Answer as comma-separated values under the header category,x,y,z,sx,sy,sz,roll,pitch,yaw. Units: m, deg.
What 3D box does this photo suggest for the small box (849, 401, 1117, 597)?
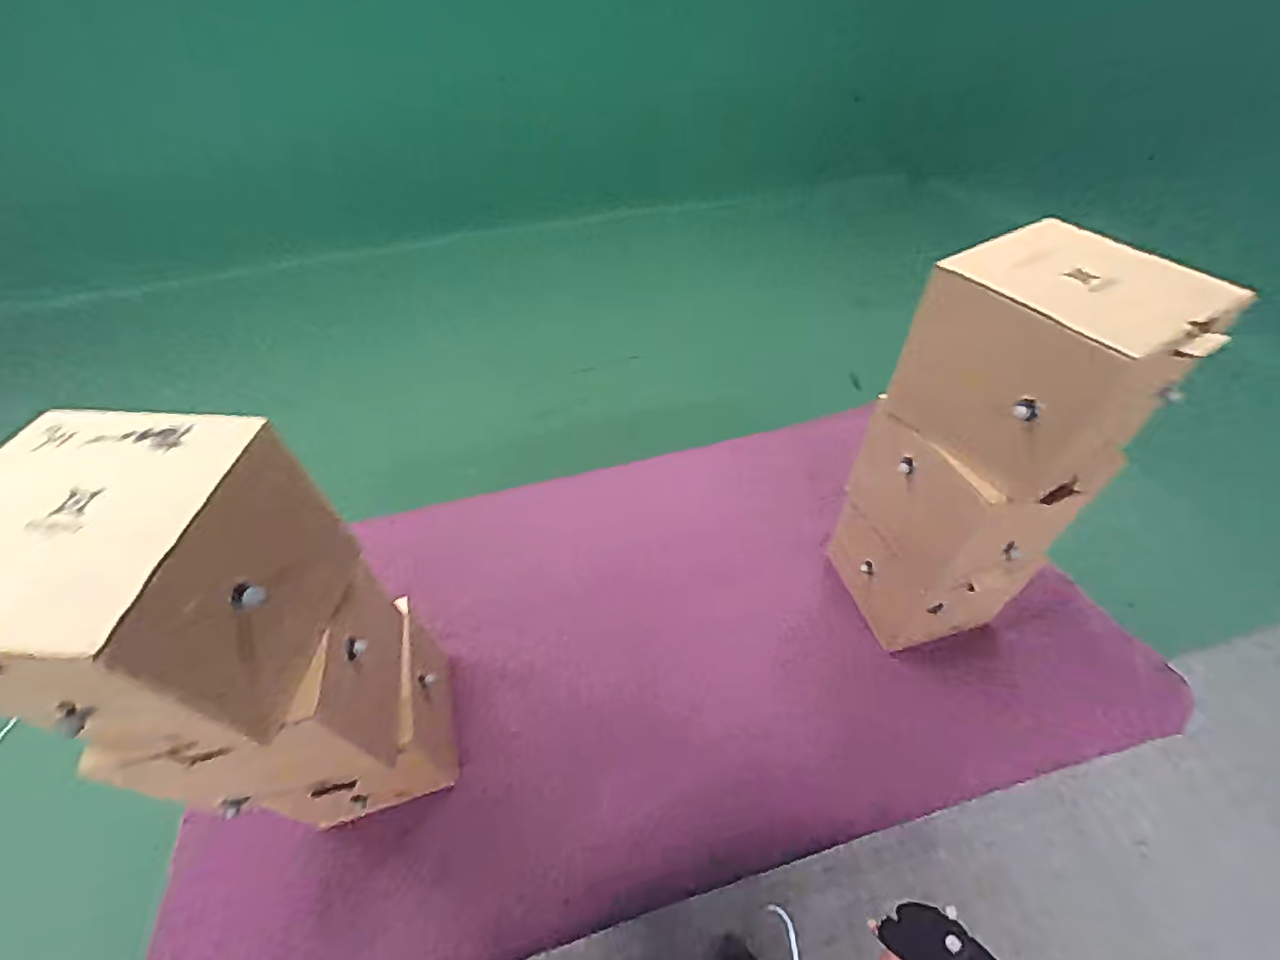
category,x,y,z,sx,sy,sz,roll,pitch,yaw
small box,0.376,0.006,0.637,0.168,0.176,0.179,-16,50,-10

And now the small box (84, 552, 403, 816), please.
category,x,y,z,sx,sy,sz,roll,pitch,yaw
small box,-0.338,0.197,0.512,0.168,0.176,0.179,-11,50,-8

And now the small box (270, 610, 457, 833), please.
category,x,y,z,sx,sy,sz,roll,pitch,yaw
small box,-0.330,0.290,0.648,0.168,0.176,0.179,-15,51,-11

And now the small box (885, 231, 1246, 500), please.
category,x,y,z,sx,sy,sz,roll,pitch,yaw
small box,0.375,-0.103,0.516,0.168,0.176,0.179,-25,52,-18

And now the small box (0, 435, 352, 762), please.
category,x,y,z,sx,sy,sz,roll,pitch,yaw
small box,-0.343,0.089,0.388,0.168,0.176,0.179,3,52,3
